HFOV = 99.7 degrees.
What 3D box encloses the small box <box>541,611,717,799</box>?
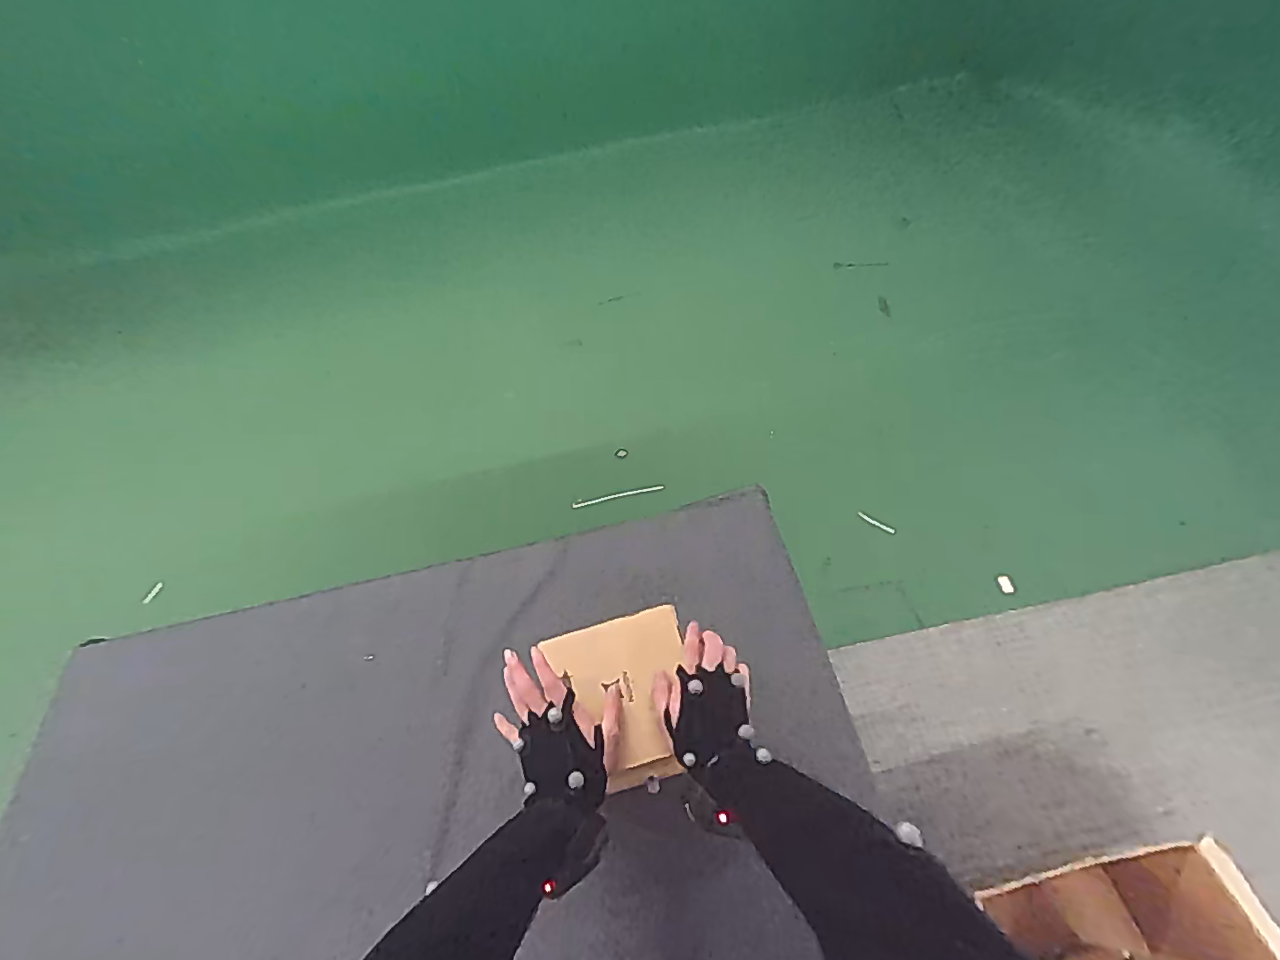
[{"bbox_3d":[-0.011,0.295,0.701,0.179,0.176,0.168,-18,57,-3],"label":"small box"}]
